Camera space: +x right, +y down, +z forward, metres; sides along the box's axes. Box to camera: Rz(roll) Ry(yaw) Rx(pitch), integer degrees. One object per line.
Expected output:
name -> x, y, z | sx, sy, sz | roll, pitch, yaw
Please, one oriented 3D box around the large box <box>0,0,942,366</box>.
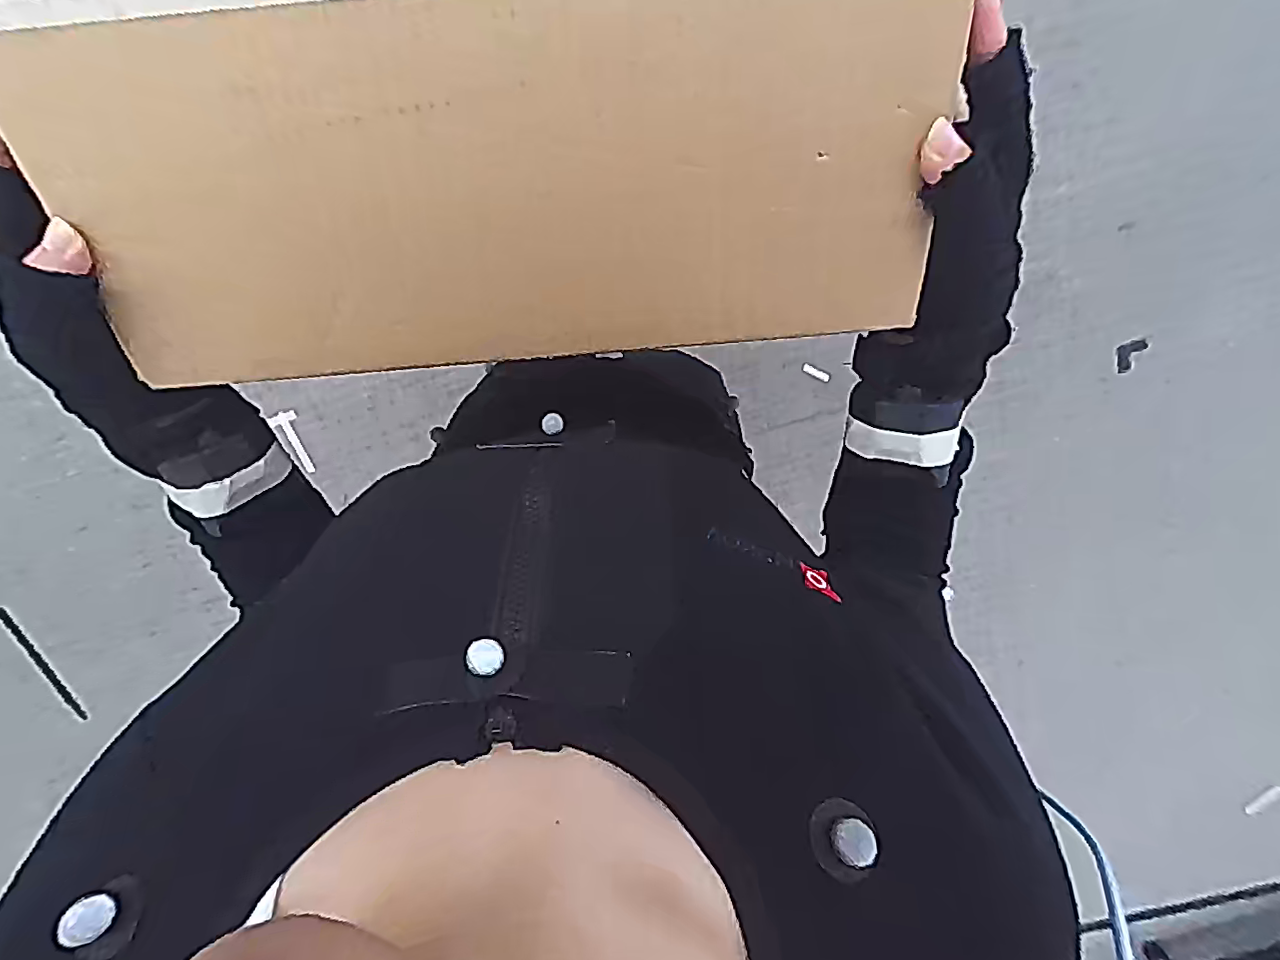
large box -> -0.077, -0.285, 0.346 | 0.408, 0.320, 0.320 | -5, 121, 1
